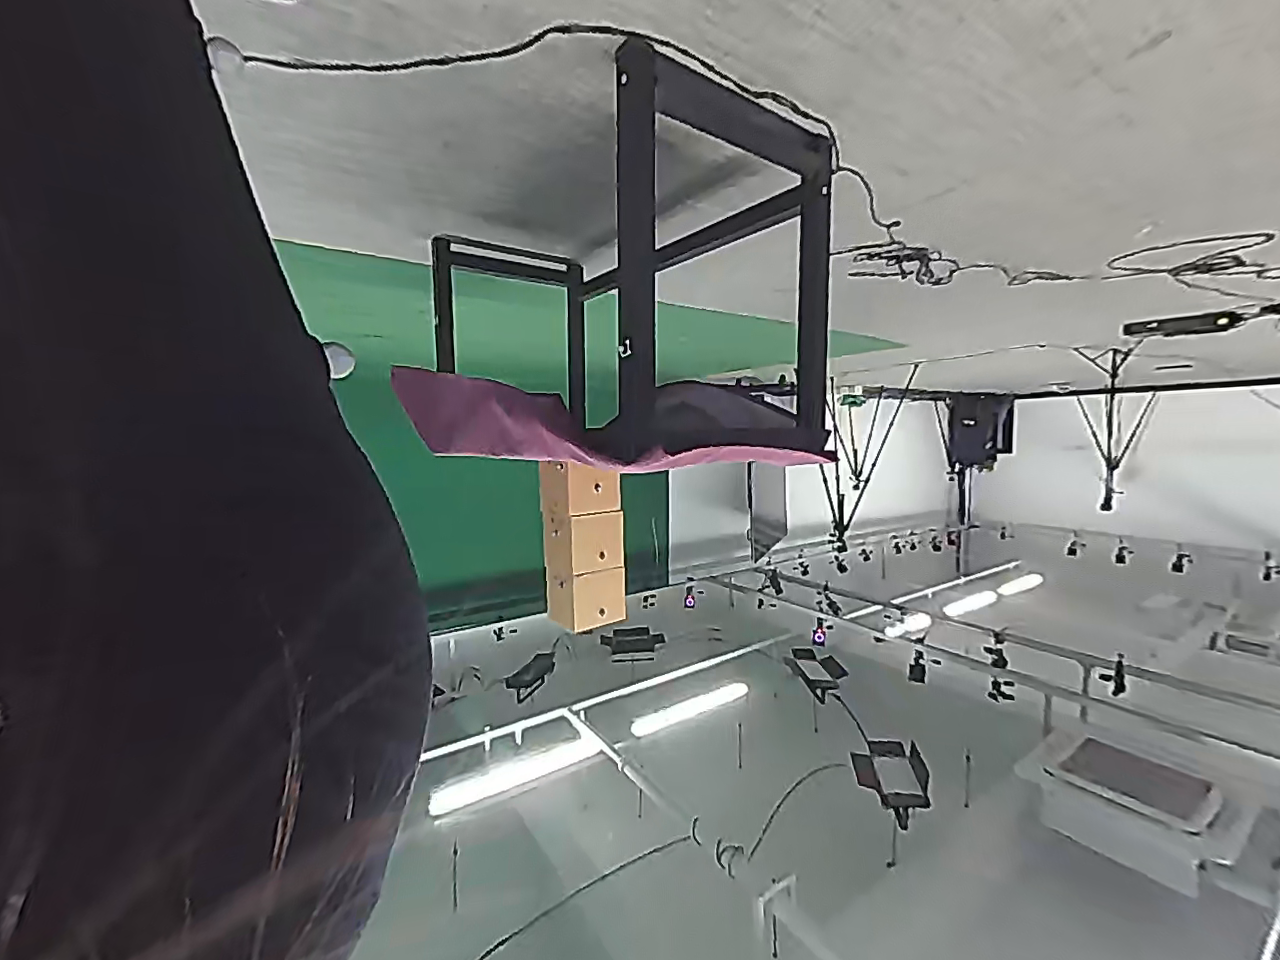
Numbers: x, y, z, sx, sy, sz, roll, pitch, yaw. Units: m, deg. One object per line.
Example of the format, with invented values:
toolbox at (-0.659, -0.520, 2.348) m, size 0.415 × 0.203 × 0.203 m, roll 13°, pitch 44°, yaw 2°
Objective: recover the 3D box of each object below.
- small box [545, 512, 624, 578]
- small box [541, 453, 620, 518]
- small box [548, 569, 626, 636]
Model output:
small box at (-0.164, 0.175, 1.582) m, size 0.179 × 0.176 × 0.168 m, roll -4°, pitch -175°, yaw -37°
small box at (-0.176, 0.012, 1.566) m, size 0.179 × 0.176 × 0.168 m, roll -5°, pitch -174°, yaw -37°
small box at (-0.157, 0.338, 1.597) m, size 0.179 × 0.176 × 0.168 m, roll -5°, pitch -175°, yaw -37°
